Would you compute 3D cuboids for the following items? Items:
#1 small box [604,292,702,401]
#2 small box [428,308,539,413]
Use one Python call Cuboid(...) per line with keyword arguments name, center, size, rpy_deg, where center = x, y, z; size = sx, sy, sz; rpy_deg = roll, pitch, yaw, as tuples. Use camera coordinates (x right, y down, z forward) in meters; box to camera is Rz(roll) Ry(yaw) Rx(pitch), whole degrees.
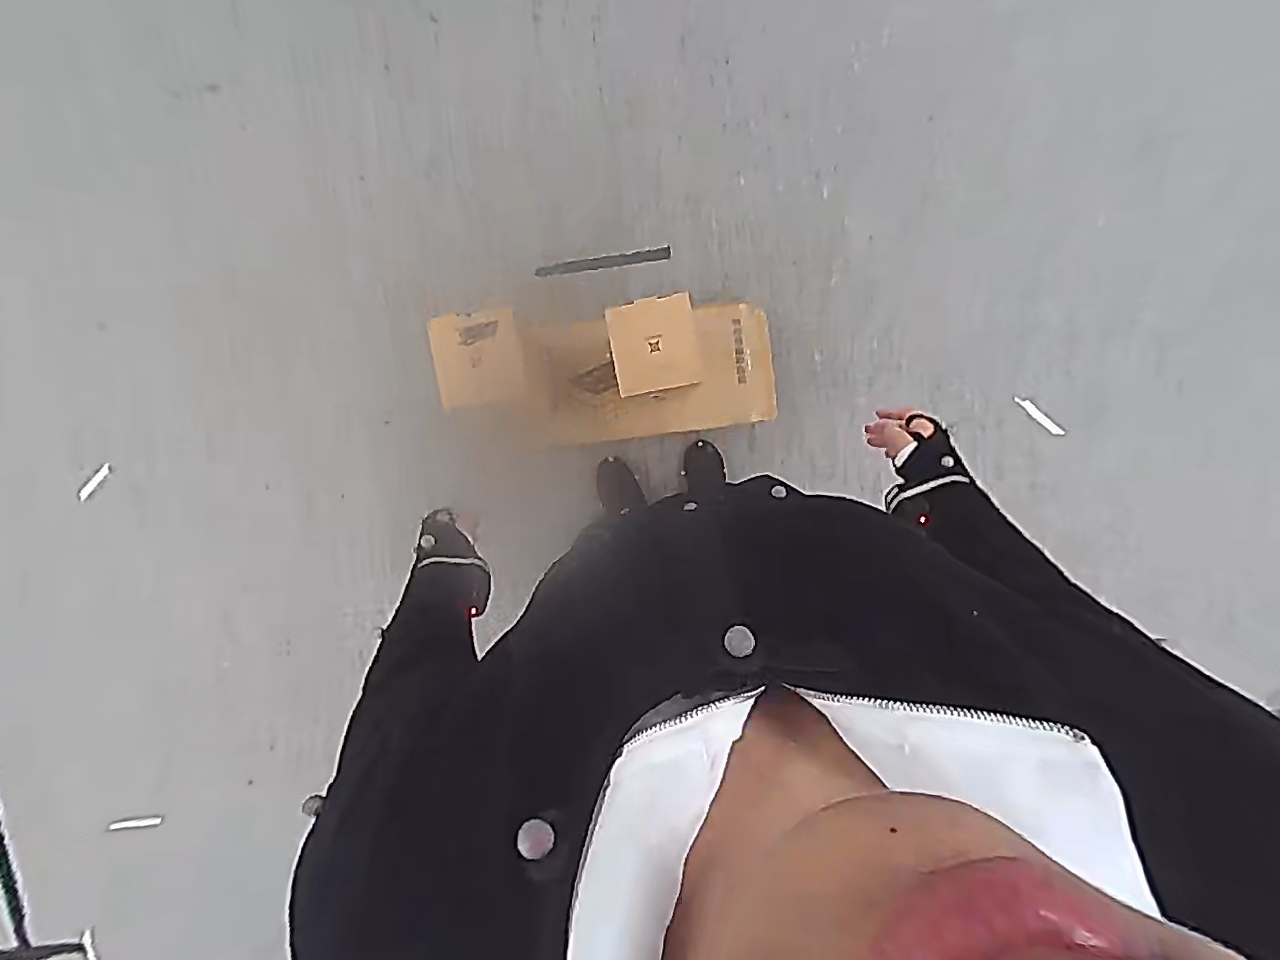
Cuboid(name="small box", center=(0.026, -0.267, 1.118), size=(0.168, 0.176, 0.179), rpy_deg=(-12, 96, 2))
Cuboid(name="small box", center=(-0.314, -0.239, 1.116), size=(0.168, 0.176, 0.179), rpy_deg=(-9, 95, 0))
